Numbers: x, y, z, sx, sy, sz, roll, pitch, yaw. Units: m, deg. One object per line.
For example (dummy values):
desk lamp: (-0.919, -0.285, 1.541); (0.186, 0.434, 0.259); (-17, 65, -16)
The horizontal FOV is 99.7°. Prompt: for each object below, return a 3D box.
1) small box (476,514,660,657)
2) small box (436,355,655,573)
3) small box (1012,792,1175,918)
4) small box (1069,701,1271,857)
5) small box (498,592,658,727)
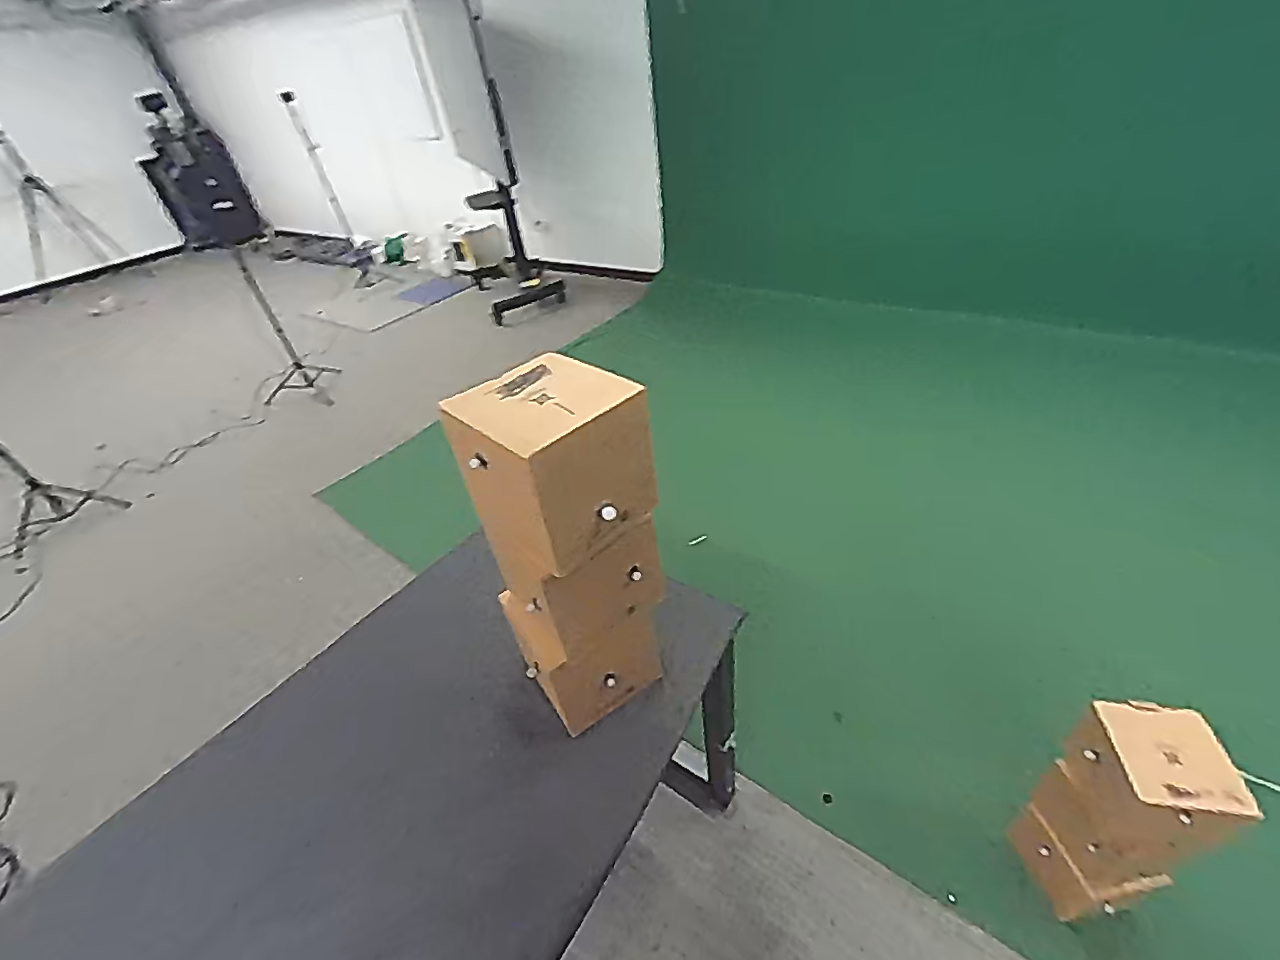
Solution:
small box: (-0.090, 0.108, 0.730); (0.168, 0.176, 0.179); (-30, 41, -26)
small box: (-0.102, -0.022, 0.631); (0.179, 0.176, 0.168); (27, 50, 38)
small box: (0.935, 0.789, 1.136); (0.168, 0.176, 0.179); (-11, 38, -2)
small box: (0.901, 0.520, 0.947); (0.168, 0.176, 0.179); (1, 39, 13)
small box: (-0.089, 0.242, 0.823); (0.168, 0.176, 0.179); (-27, 40, -22)
